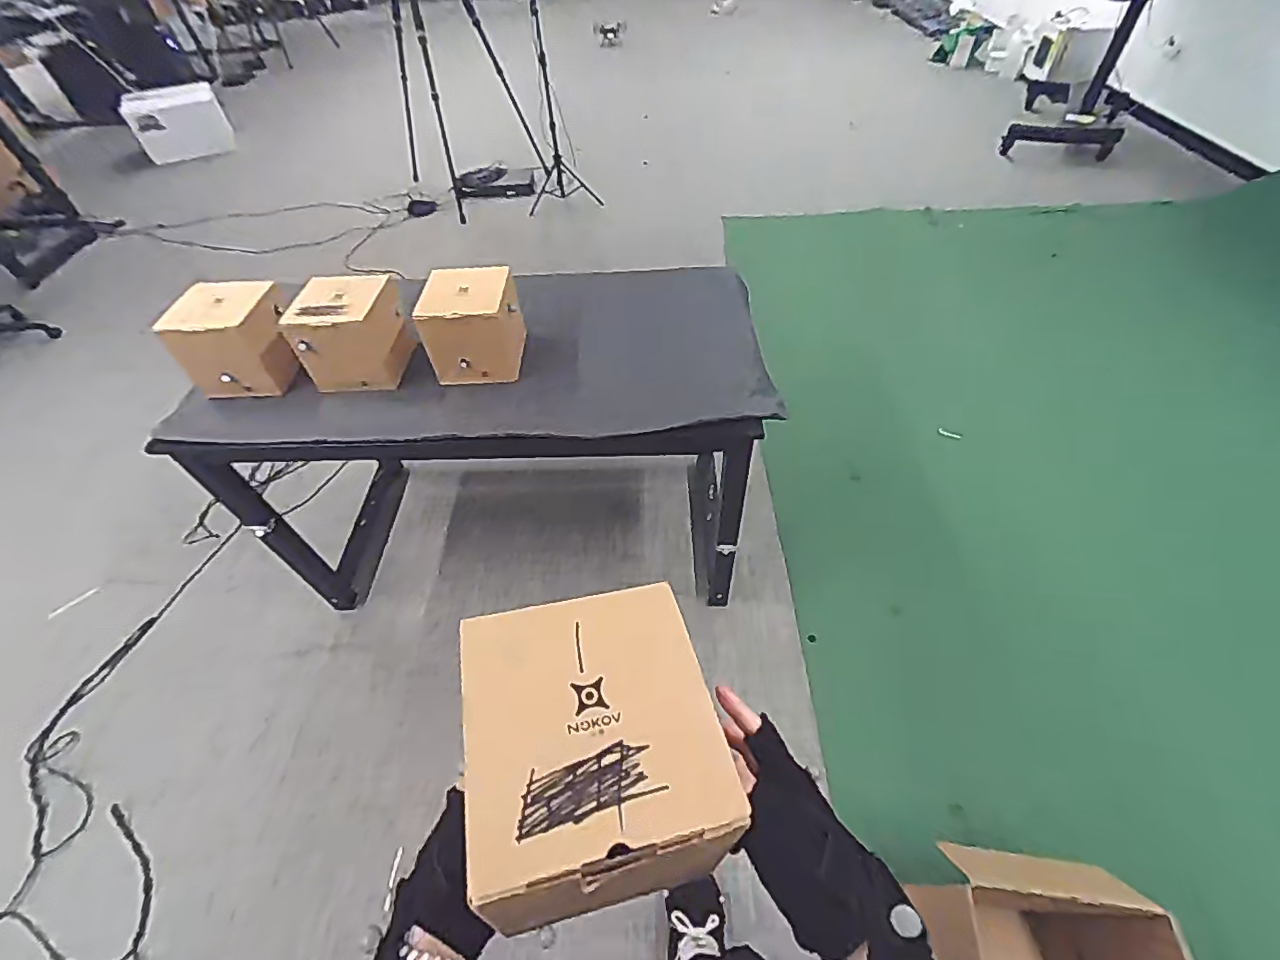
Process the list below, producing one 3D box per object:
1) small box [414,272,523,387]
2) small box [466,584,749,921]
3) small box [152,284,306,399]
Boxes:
[{"bbox_3d":[-0.348,-0.314,1.135,0.168,0.176,0.179,-2,51,1],"label":"small box"},{"bbox_3d":[-0.036,0.210,0.419,0.168,0.176,0.179,-7,45,-13],"label":"small box"},{"bbox_3d":[-0.834,-0.287,1.125,0.168,0.176,0.179,-2,49,0],"label":"small box"}]
